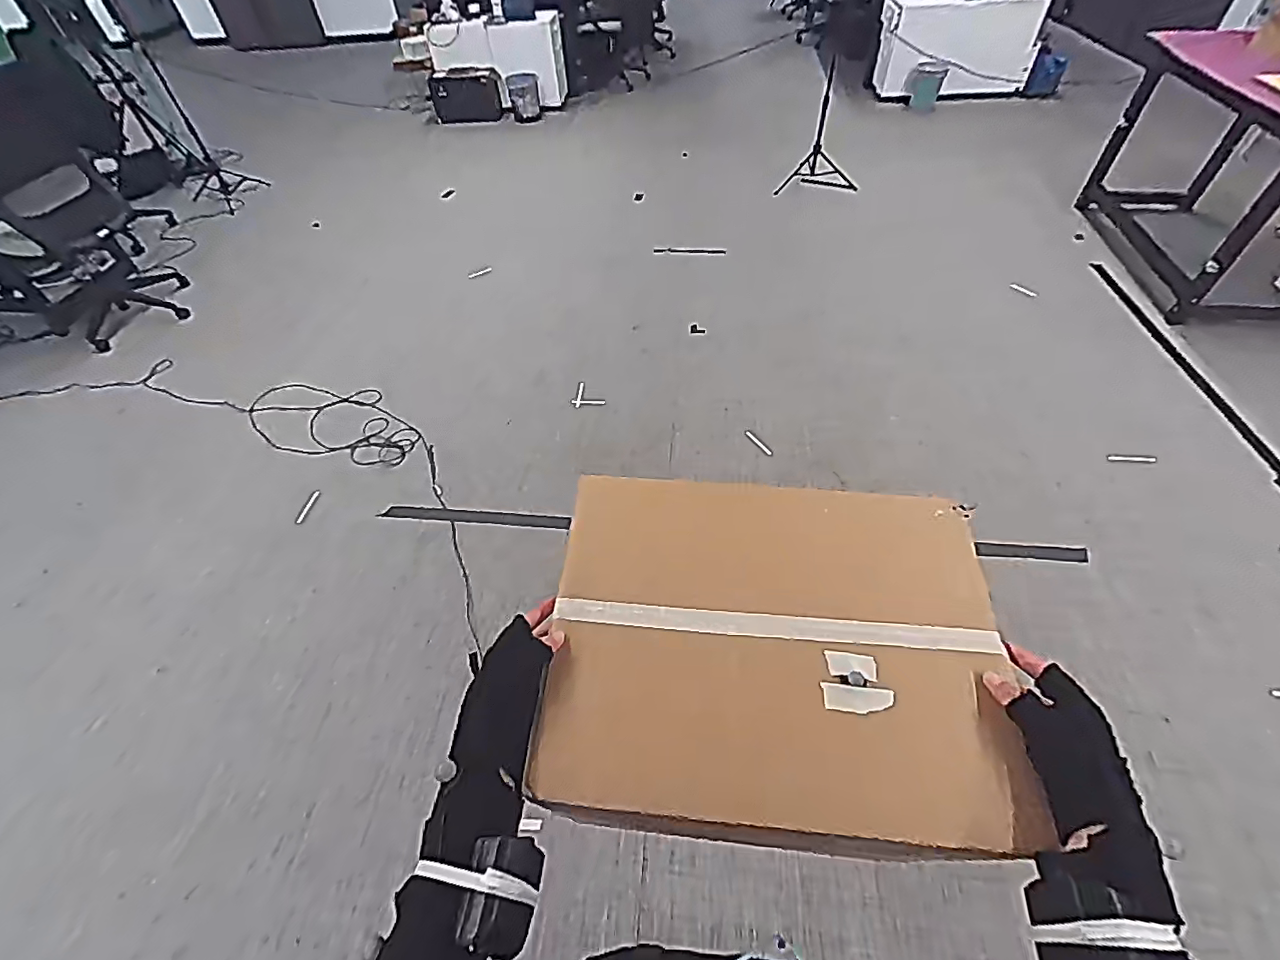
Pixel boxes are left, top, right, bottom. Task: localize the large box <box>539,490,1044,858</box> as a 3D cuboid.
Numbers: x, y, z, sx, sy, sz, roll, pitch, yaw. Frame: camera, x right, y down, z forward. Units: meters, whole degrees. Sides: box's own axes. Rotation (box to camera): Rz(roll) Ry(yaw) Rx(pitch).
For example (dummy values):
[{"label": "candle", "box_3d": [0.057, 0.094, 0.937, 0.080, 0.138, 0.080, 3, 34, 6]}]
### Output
[{"label": "large box", "box_3d": [0.127, 0.232, 0.630, 0.408, 0.320, 0.320, 4, 55, 4]}]
